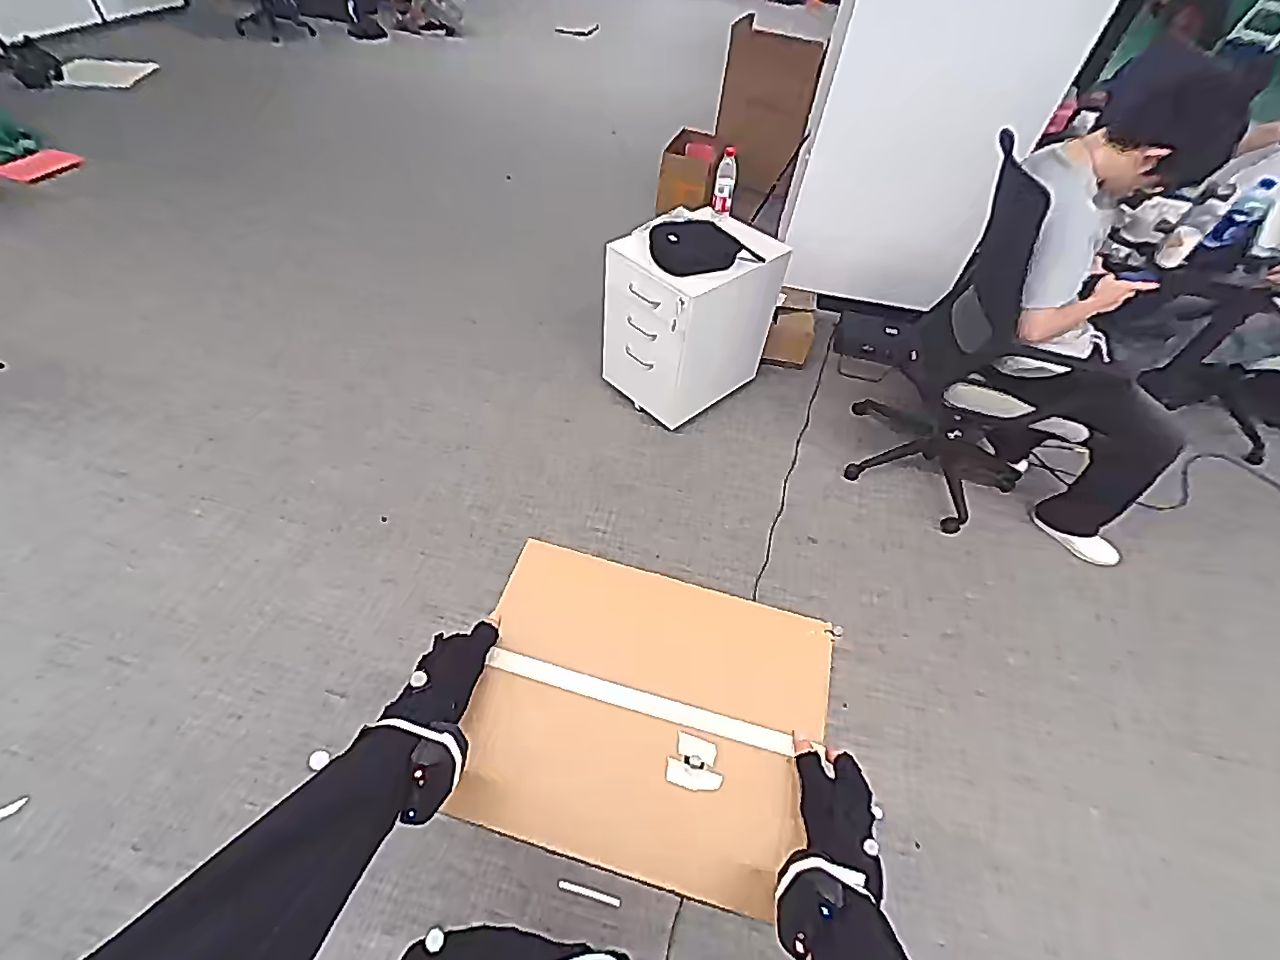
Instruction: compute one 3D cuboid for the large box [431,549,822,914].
[{"bbox_3d":[-0.006,0.343,0.751,0.408,0.320,0.320,15,56,4],"label":"large box"}]
